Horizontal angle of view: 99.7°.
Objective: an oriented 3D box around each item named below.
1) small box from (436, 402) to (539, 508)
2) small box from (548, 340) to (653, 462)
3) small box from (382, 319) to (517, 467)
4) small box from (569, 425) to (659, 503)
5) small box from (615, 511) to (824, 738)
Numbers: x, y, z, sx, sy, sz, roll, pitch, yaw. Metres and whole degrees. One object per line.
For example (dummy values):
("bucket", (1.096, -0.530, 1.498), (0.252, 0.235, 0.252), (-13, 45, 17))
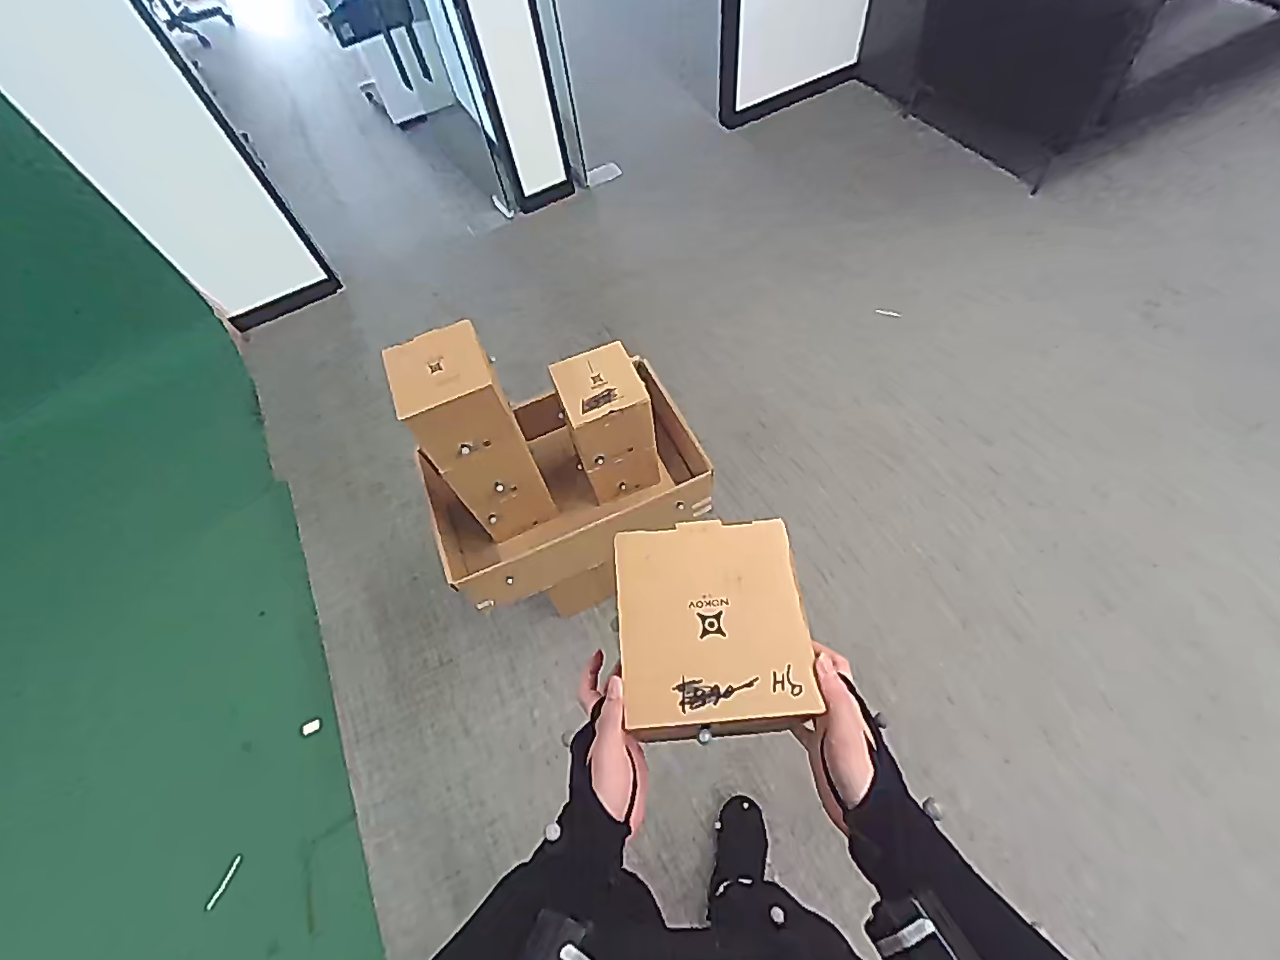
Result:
("small box", (-0.329, -0.072, 1.132), (0.168, 0.176, 0.179), (-23, 60, -7))
("small box", (-0.078, -0.159, 1.155), (0.168, 0.176, 0.179), (-21, 59, -6))
("small box", (-0.343, -0.156, 0.993), (0.168, 0.176, 0.179), (-23, 60, -6))
("small box", (-0.063, -0.076, 1.297), (0.168, 0.176, 0.179), (-22, 61, -7))
("small box", (0.064, 0.149, 0.540), (0.168, 0.176, 0.179), (-5, 60, 1))
